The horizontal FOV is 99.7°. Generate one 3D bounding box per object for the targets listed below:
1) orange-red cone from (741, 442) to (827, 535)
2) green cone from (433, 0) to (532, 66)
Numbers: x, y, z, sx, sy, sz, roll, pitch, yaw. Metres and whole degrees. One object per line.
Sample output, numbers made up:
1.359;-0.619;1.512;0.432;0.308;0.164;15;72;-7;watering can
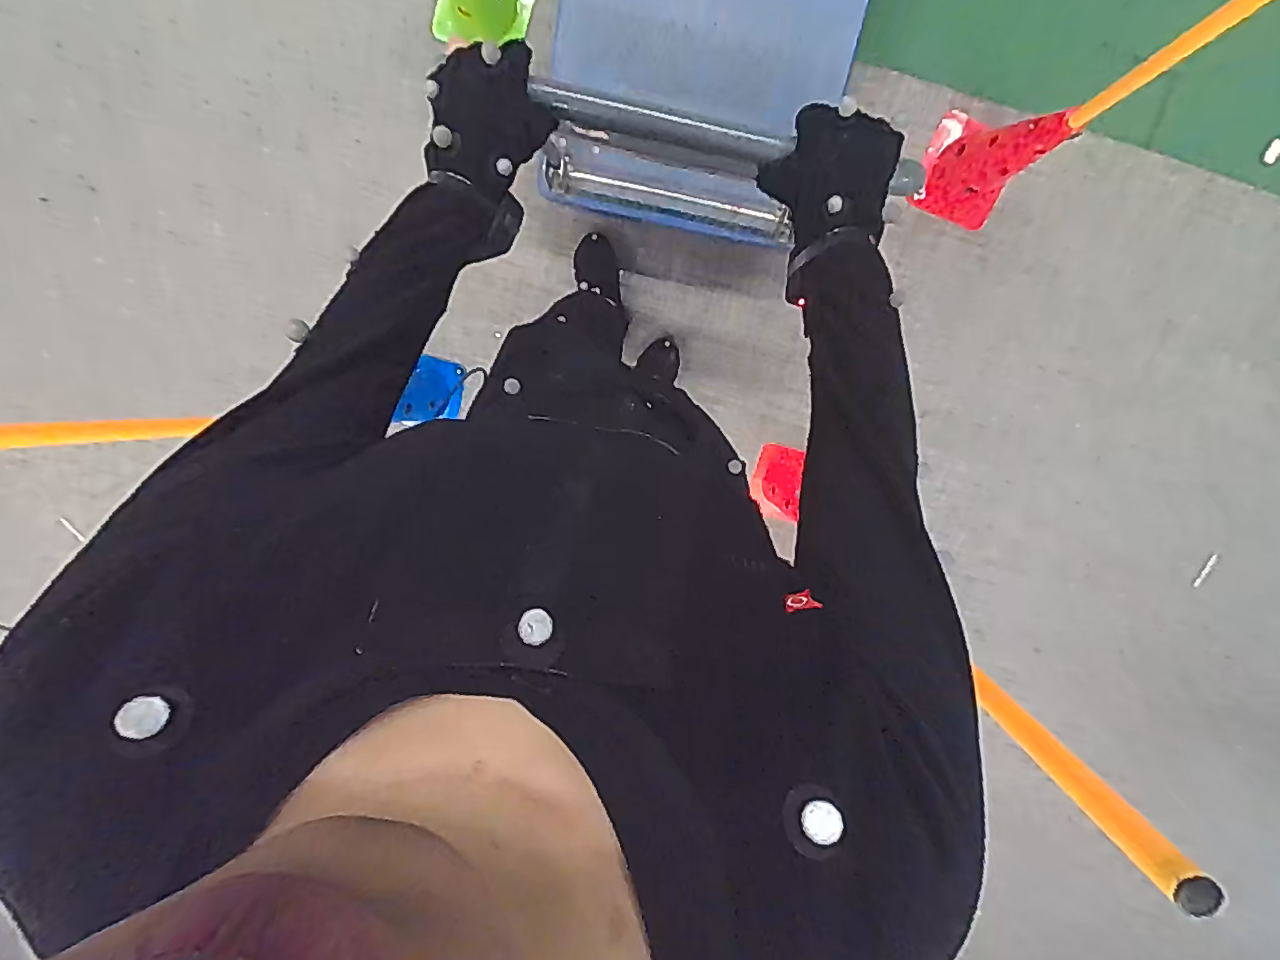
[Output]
0.384;0.055;1.319;0.199;0.360;0.198;16;106;-1;orange-red cone
-0.349;-1.001;1.020;0.202;0.368;0.200;20;106;-3;green cone
